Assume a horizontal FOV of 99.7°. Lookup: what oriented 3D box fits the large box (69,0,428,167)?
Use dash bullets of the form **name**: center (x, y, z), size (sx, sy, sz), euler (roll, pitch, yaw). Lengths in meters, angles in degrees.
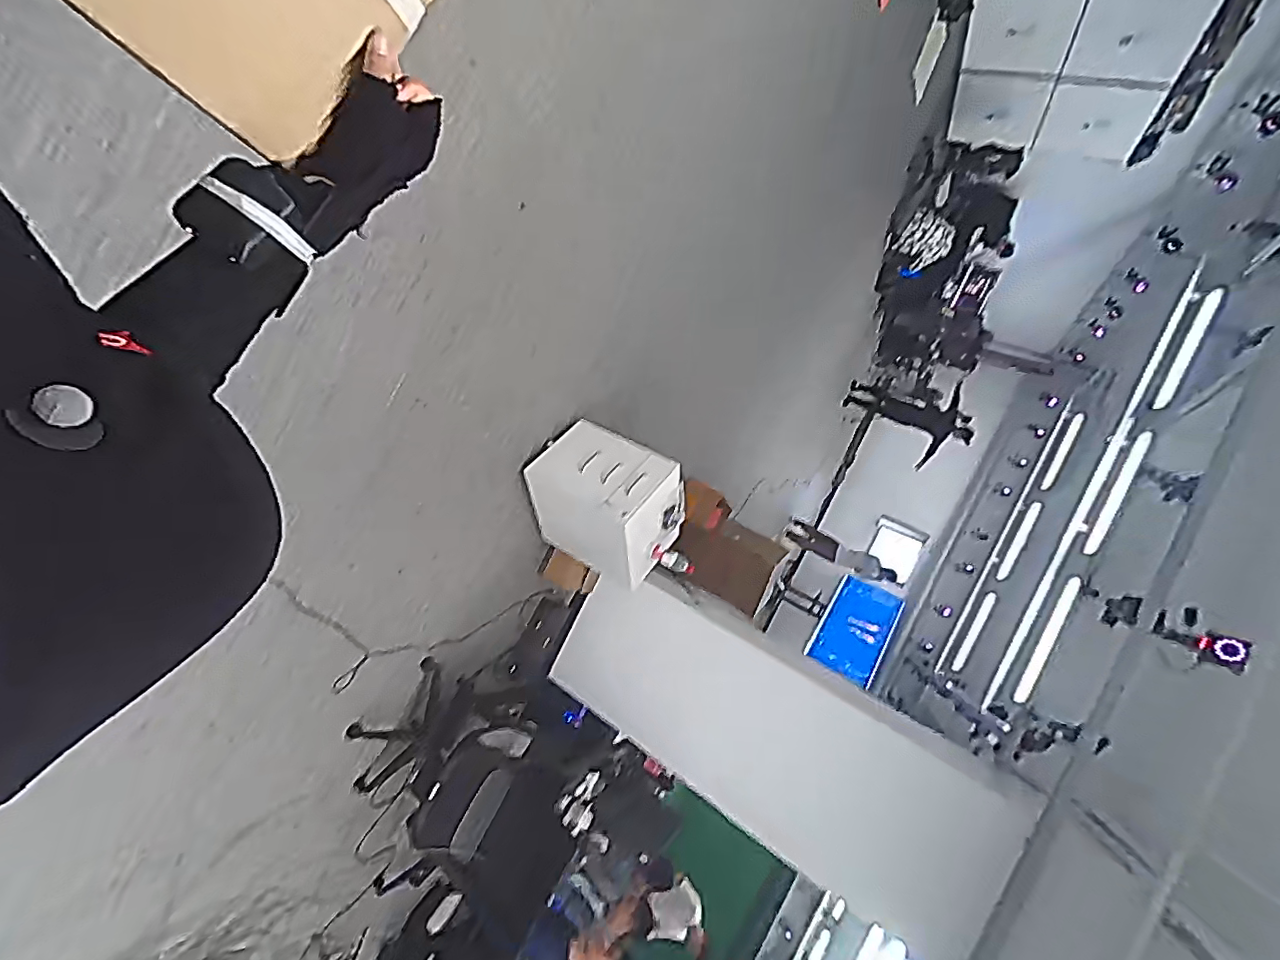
- **large box**: center (-0.362, -0.500, 0.318), size (0.320, 0.320, 0.408), euler (-51, 155, 2)
